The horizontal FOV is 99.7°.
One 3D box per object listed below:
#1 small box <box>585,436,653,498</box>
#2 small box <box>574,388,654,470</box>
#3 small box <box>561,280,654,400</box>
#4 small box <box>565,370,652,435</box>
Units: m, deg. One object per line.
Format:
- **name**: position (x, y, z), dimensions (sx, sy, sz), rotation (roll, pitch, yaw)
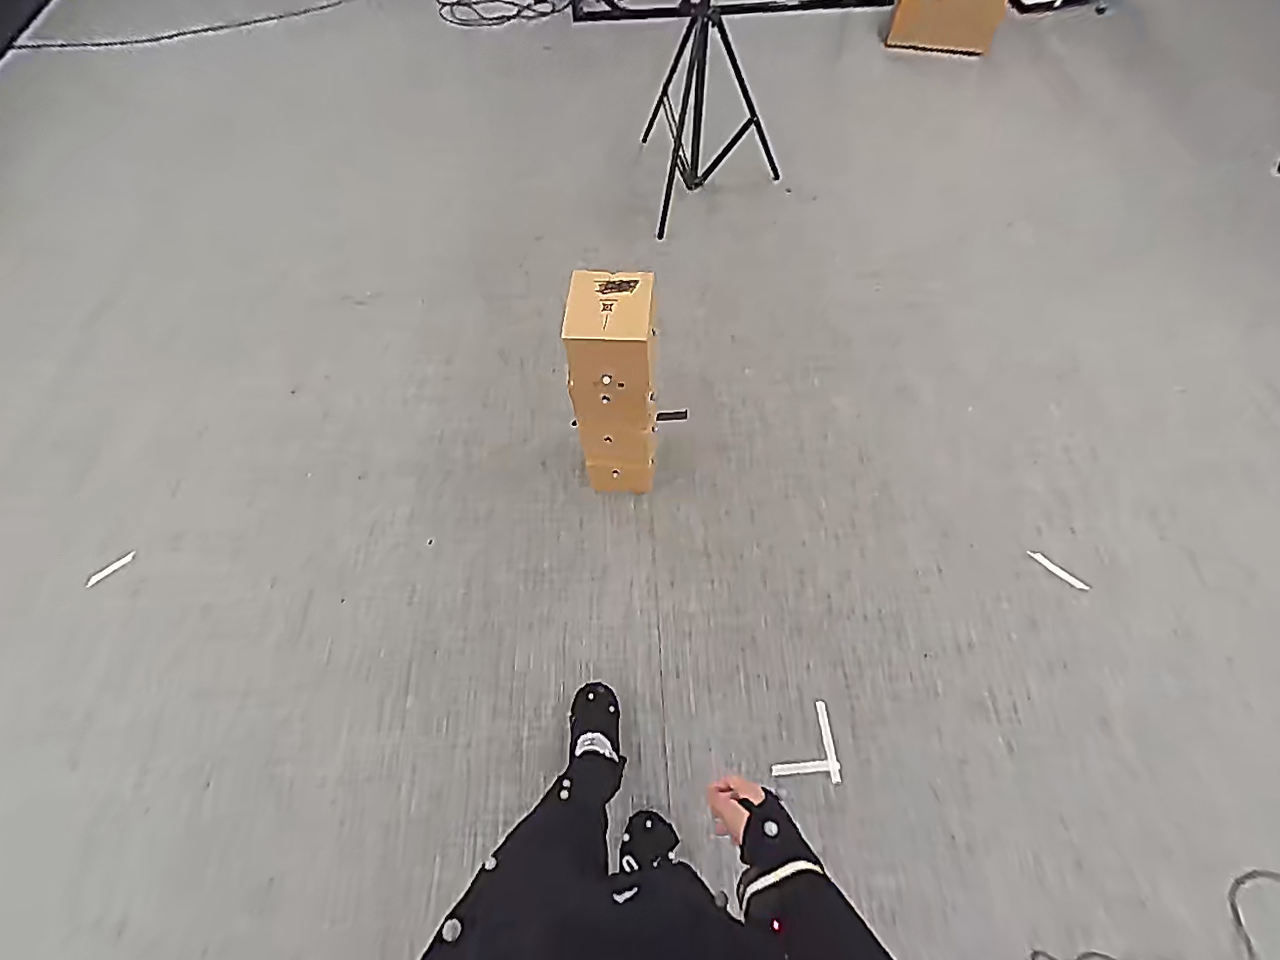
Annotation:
- **small box**: position (-0.054, -0.056, 1.557), dimensions (0.179, 0.176, 0.168), rotation (3, 64, 4)
- **small box**: position (-0.061, -0.138, 1.414), dimensions (0.179, 0.176, 0.168), rotation (6, 64, 5)
- **small box**: position (-0.060, -0.288, 1.125), dimensions (0.168, 0.176, 0.179), rotation (3, 65, 5)
- **small box**: position (-0.066, -0.218, 1.274), dimensions (0.179, 0.176, 0.168), rotation (4, 64, 4)
